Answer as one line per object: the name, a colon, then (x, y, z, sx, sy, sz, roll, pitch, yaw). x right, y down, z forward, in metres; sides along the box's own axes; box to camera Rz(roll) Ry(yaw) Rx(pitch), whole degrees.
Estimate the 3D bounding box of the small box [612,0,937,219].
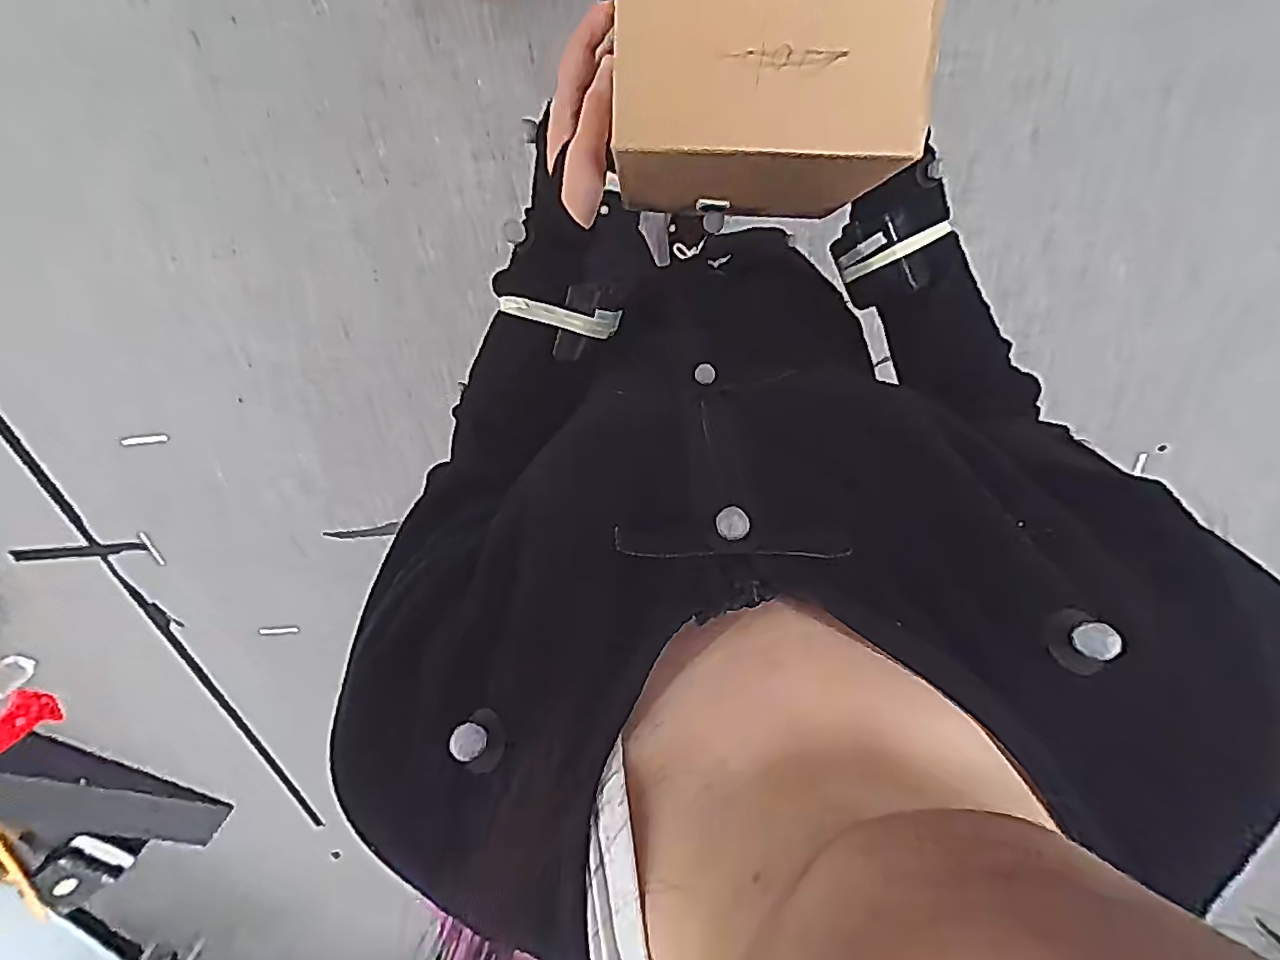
small box: (0.069, -0.281, 0.346, 0.168, 0.176, 0.179, 2, 106, 1)
